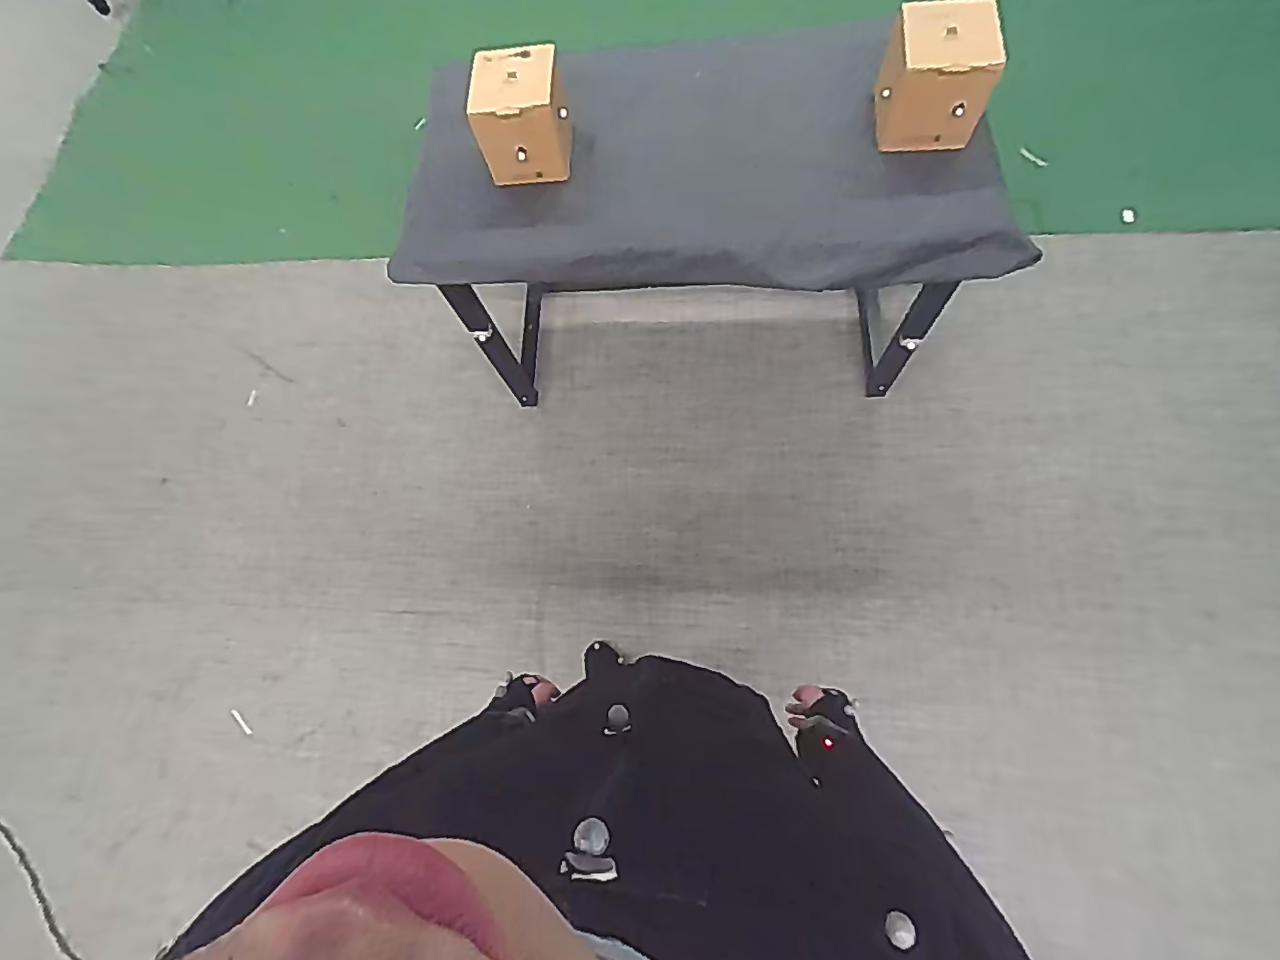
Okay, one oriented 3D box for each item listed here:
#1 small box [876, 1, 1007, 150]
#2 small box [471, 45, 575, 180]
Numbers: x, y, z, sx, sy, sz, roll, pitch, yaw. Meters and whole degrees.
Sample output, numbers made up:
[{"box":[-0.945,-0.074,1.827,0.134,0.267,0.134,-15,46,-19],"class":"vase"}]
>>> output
[{"box":[0.568,-0.769,1.043,0.168,0.176,0.179,3,71,6],"class":"small box"},{"box":[-0.235,-0.755,1.130,0.168,0.176,0.179,-1,71,5],"class":"small box"}]
